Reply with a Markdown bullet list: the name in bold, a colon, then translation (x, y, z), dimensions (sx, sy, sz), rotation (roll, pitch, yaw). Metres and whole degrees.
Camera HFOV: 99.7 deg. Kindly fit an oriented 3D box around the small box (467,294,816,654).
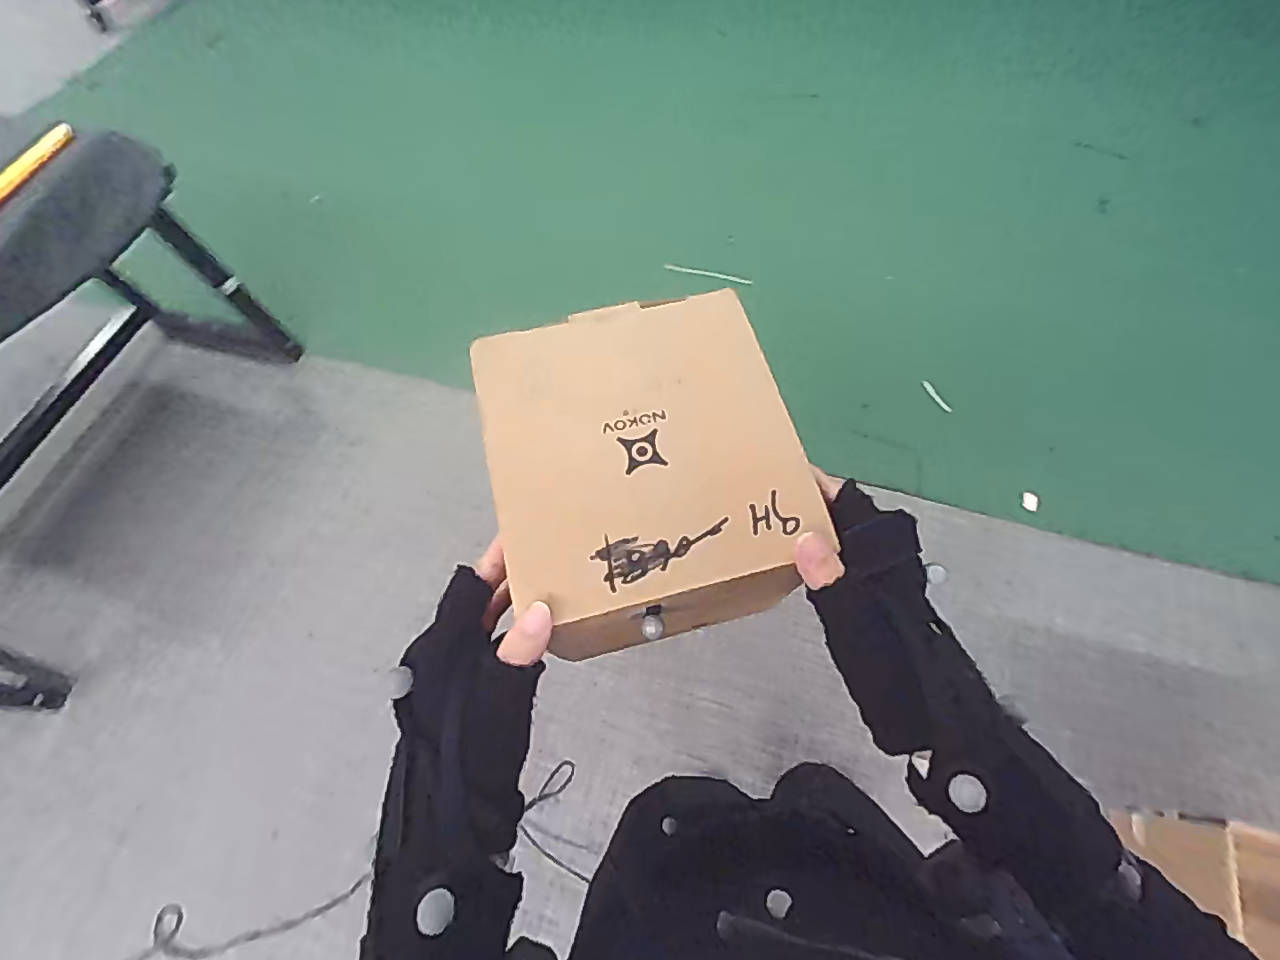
- **small box**: translation (-0.007, 0.007, 0.378), dimensions (0.168, 0.176, 0.179), rotation (-14, 67, -5)
